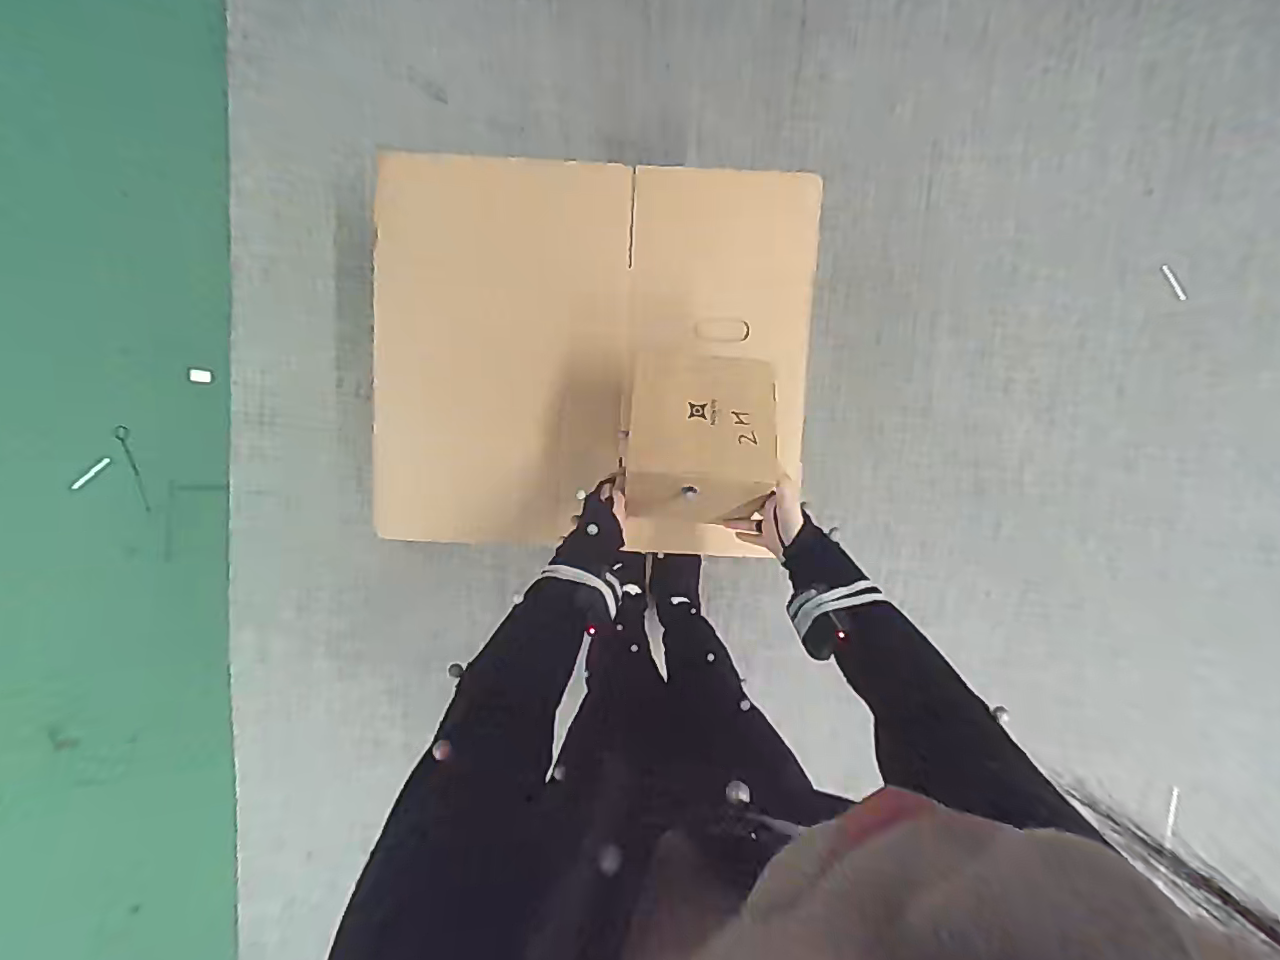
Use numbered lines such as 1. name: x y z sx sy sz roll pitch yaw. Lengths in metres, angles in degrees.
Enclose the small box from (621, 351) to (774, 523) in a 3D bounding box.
1. small box: 0.069 -0.049 0.714 0.179 0.176 0.168 5 68 -1
